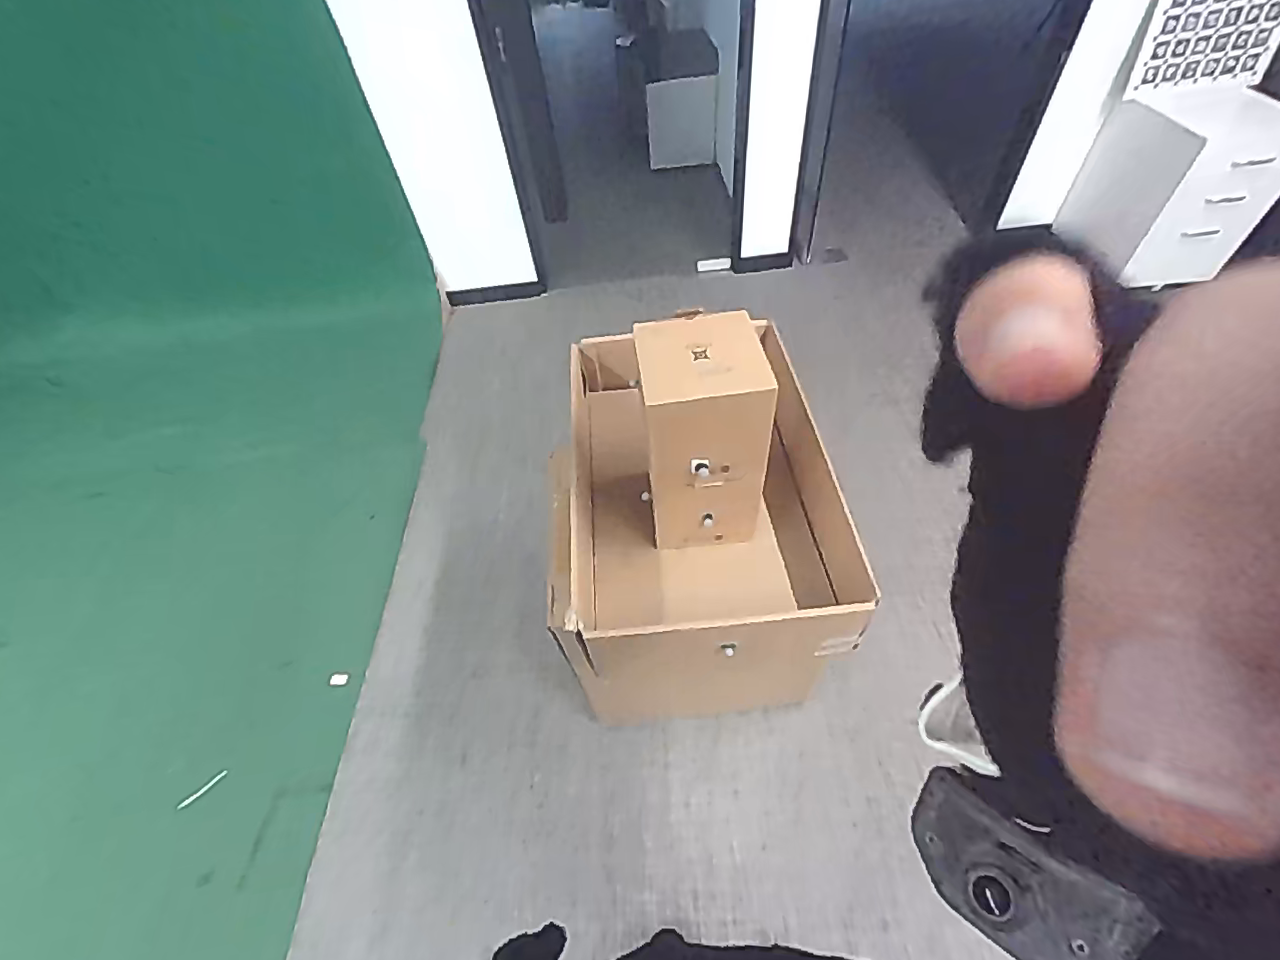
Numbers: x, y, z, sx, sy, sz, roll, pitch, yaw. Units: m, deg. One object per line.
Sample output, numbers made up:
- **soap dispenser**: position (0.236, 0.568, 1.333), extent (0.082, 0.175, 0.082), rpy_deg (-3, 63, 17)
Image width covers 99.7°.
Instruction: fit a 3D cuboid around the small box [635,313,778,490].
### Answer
- **small box**: position (0.086, -0.111, 0.775), extent (0.168, 0.176, 0.179), rpy_deg (-8, 50, 0)
